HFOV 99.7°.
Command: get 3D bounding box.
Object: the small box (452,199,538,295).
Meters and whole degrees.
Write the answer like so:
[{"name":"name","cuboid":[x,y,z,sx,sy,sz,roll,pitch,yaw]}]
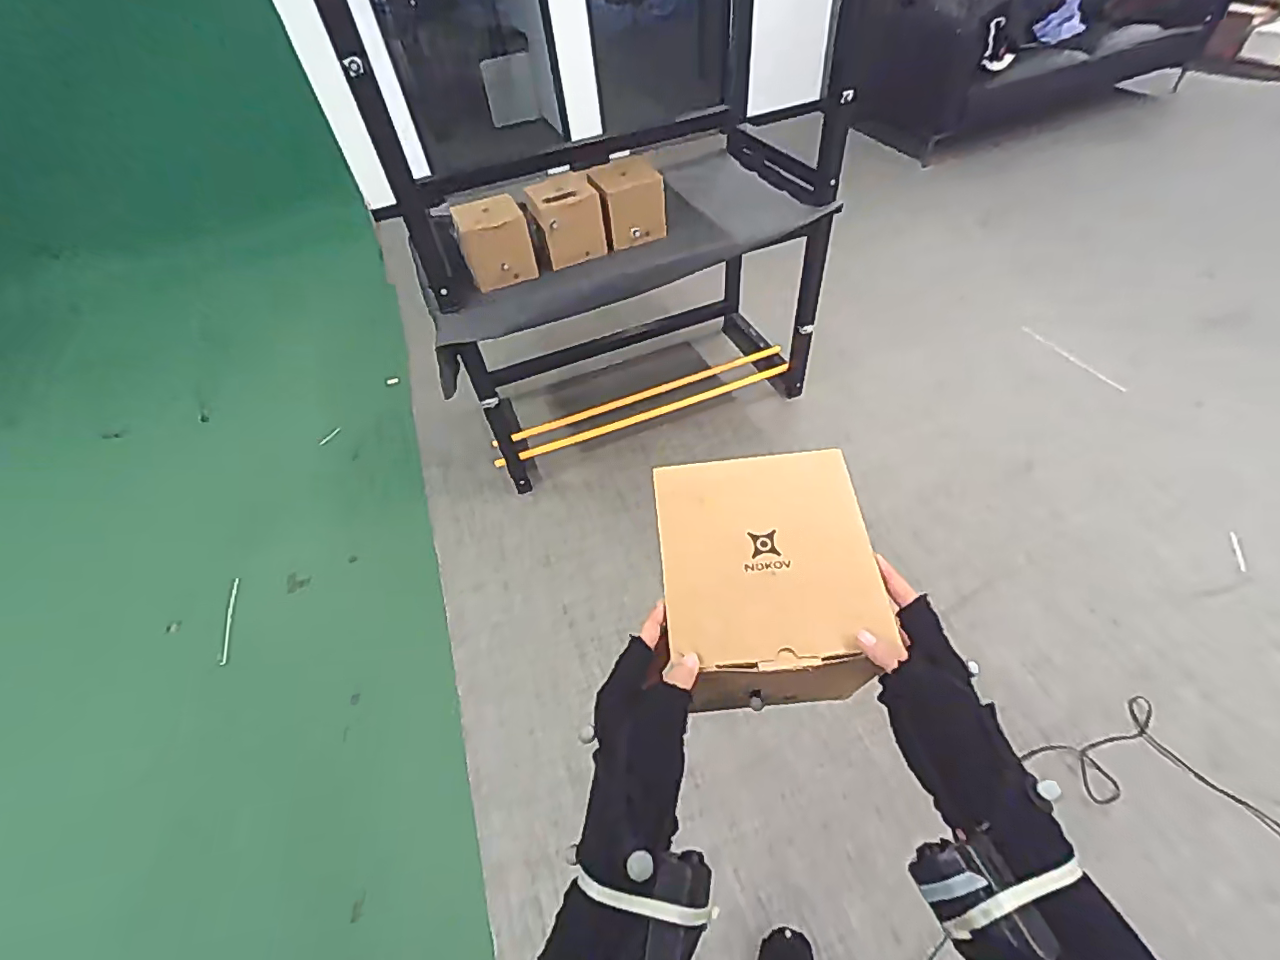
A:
[{"name":"small box","cuboid":[-0.392,-0.631,1.469,0.168,0.176,0.179,-21,50,-11]}]
